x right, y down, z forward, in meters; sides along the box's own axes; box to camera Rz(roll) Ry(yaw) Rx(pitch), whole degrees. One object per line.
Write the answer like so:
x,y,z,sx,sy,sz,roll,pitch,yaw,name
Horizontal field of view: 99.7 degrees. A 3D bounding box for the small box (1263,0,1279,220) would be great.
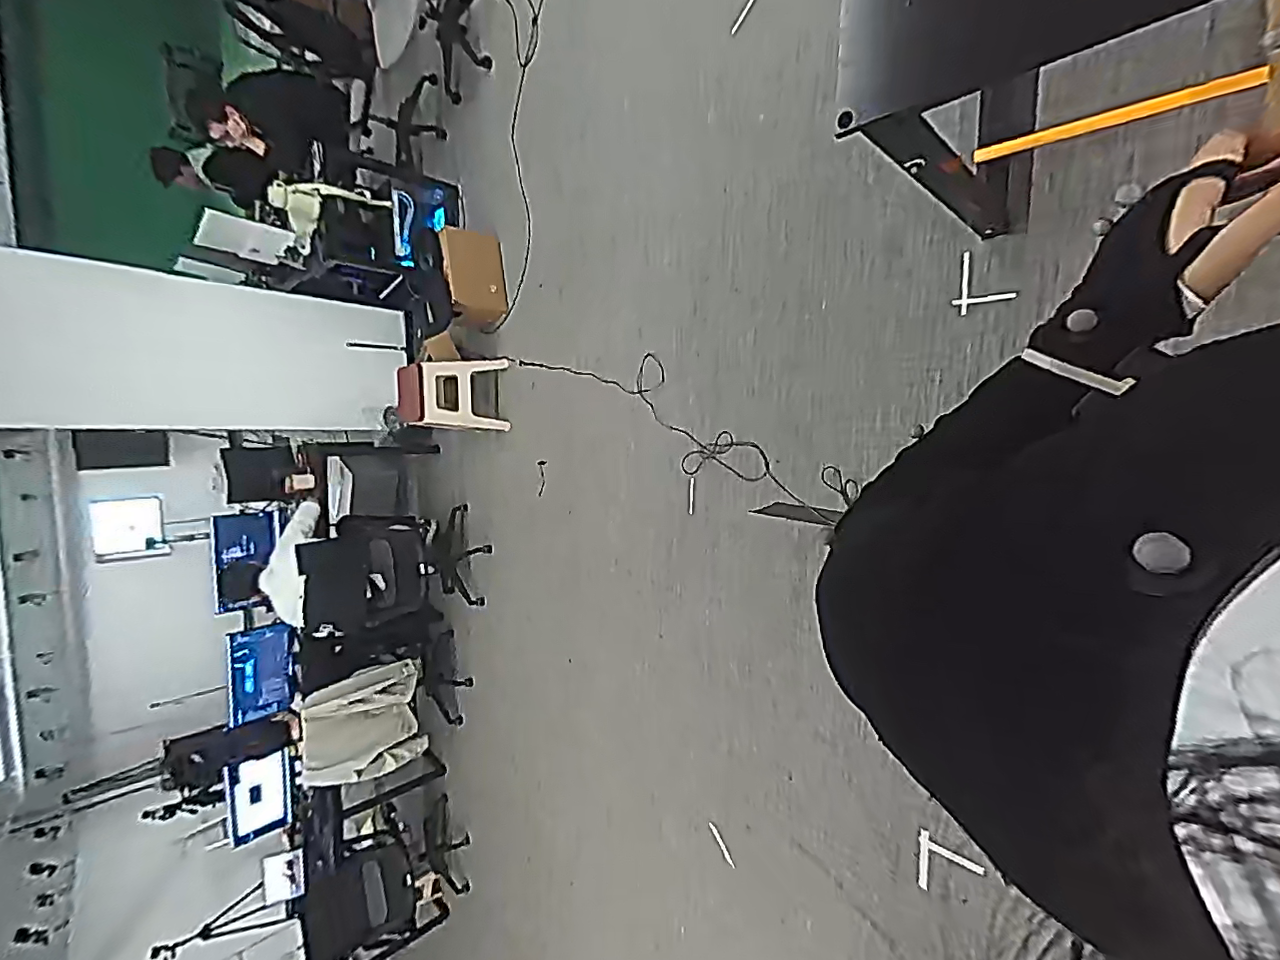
0.467,-0.257,0.289,0.168,0.176,0.179,-2,99,46,small box
